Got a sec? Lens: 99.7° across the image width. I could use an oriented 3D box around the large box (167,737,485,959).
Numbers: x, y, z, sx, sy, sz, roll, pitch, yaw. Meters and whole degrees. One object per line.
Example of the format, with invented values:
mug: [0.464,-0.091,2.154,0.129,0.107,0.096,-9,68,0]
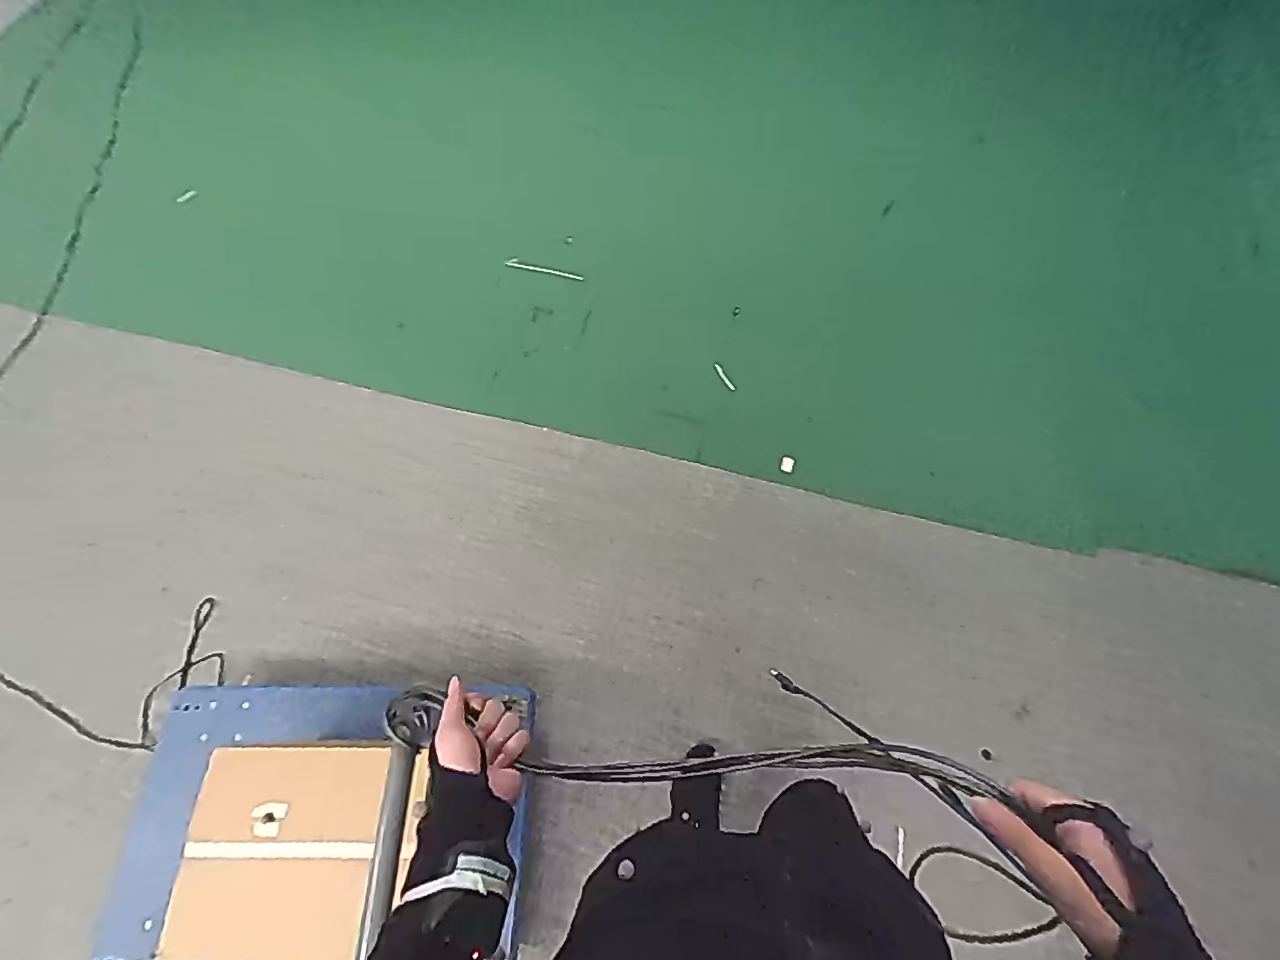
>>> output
large box: [-0.551,0.679,1.048,0.408,0.320,0.320,-1,66,3]
